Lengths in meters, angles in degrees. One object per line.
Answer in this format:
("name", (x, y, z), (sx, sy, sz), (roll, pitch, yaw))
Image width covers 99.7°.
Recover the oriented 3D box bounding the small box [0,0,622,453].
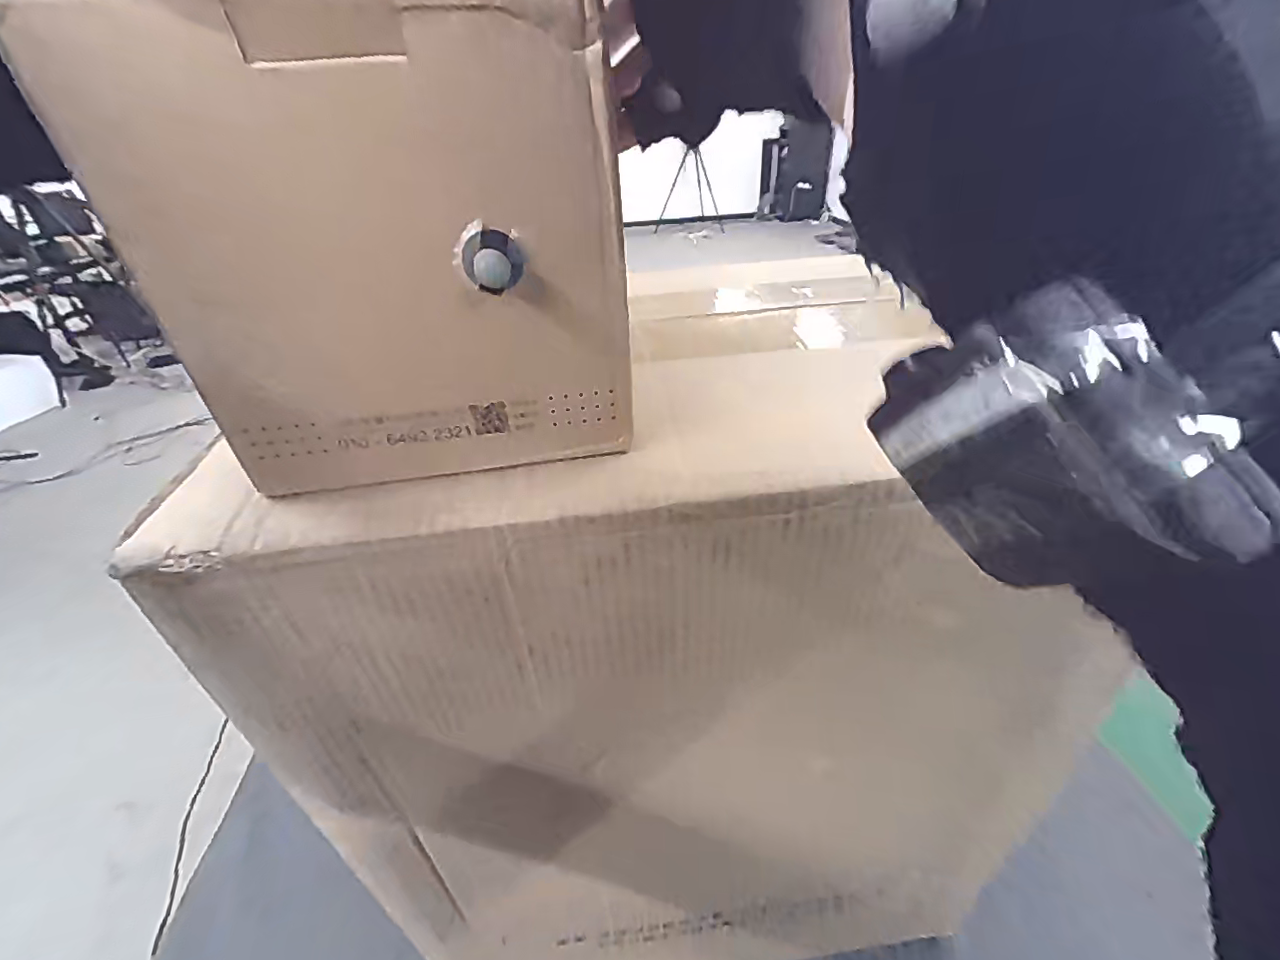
("small box", (-0.107, -0.125, 0.261), (0.168, 0.176, 0.179), (-10, 38, -8))
